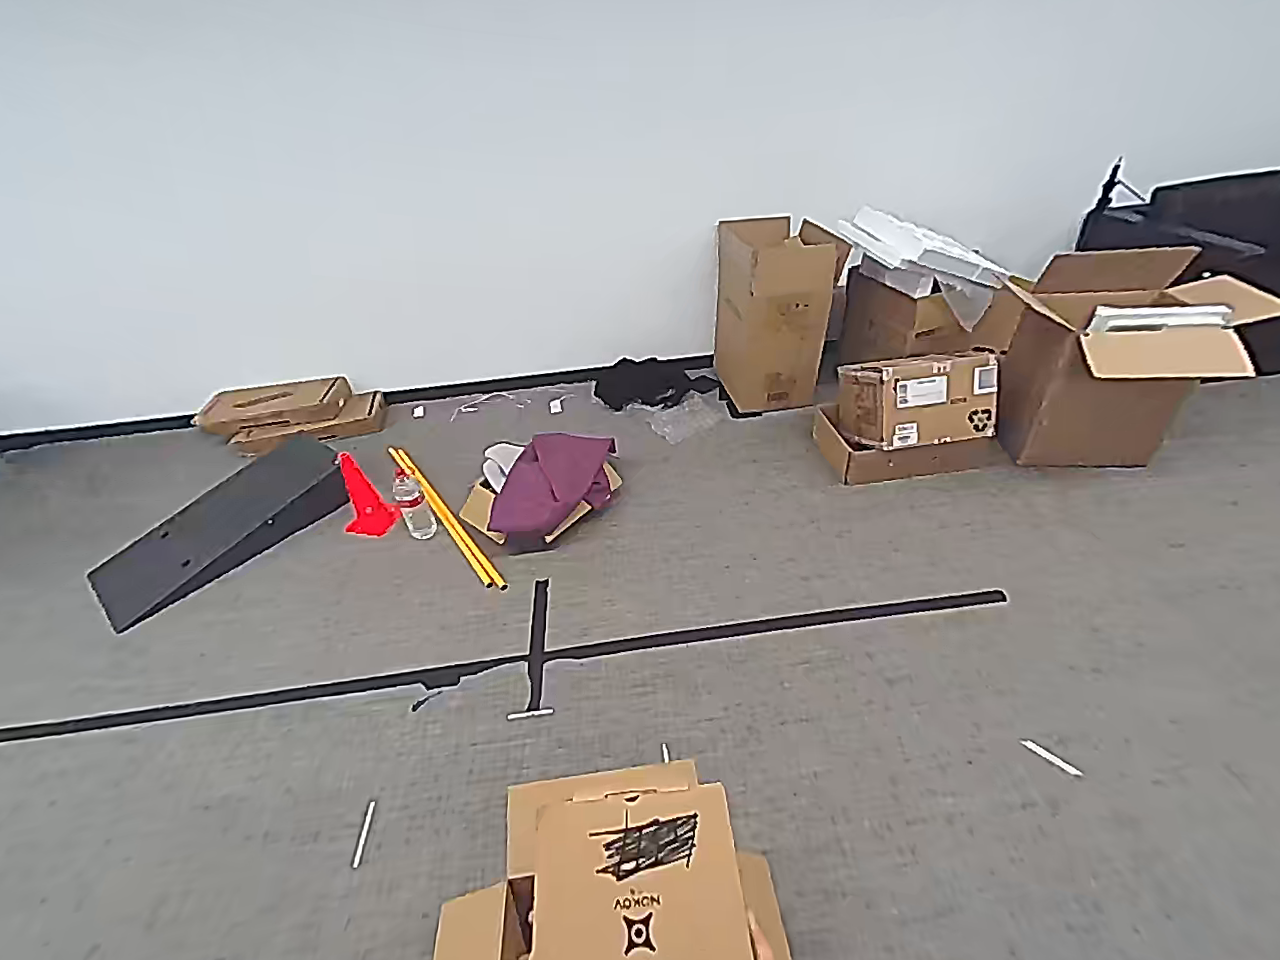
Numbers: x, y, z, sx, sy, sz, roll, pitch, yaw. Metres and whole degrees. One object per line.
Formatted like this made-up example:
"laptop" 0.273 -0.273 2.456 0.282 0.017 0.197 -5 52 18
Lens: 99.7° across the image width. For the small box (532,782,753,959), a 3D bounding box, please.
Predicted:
"small box" 0.004 0.390 0.472 0.168 0.176 0.179 -6 46 -1
